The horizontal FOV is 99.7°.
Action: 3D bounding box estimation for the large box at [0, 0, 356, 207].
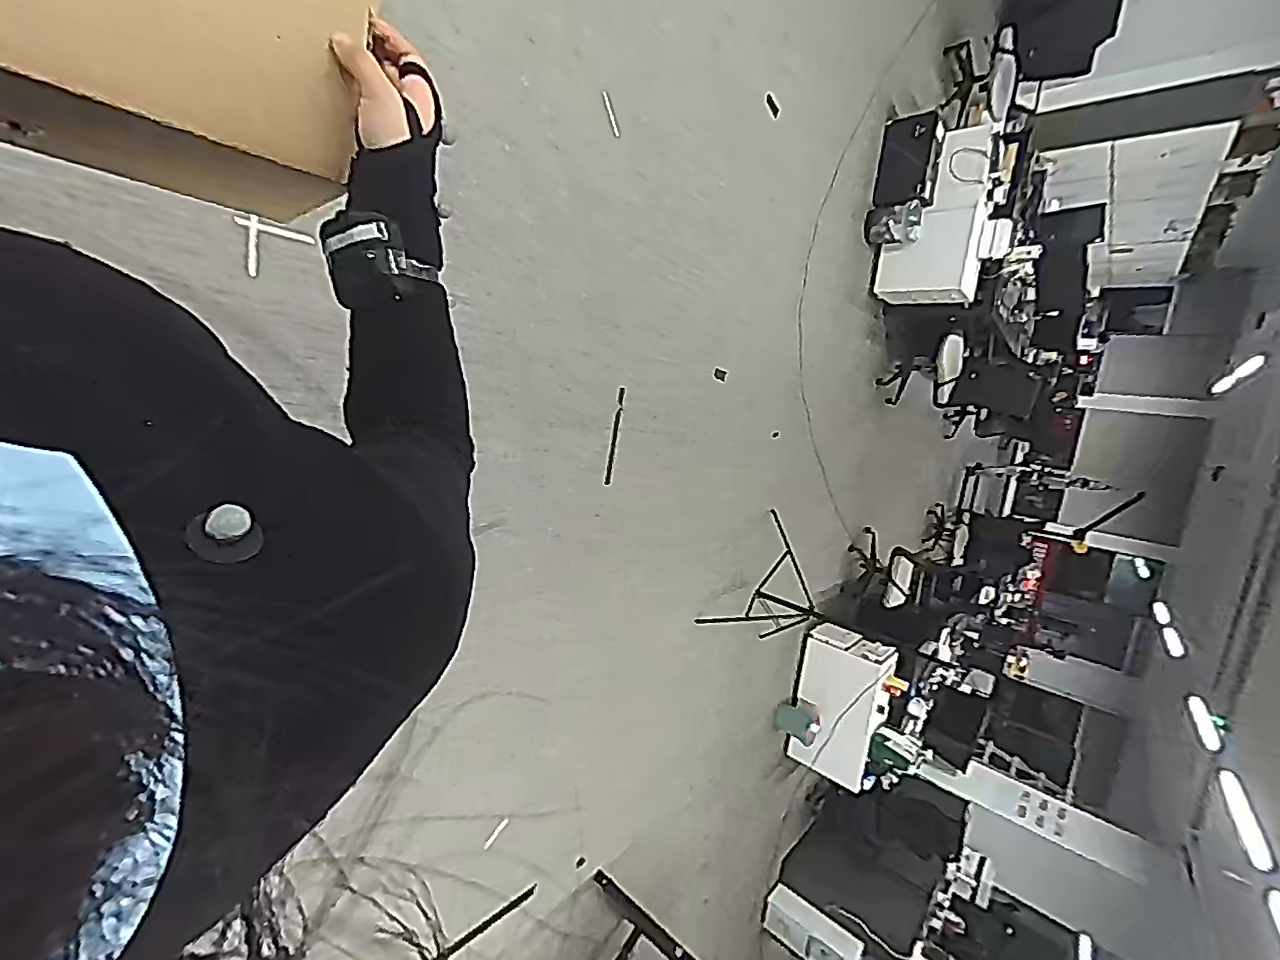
[{"bbox_3d":[-0.458,-0.435,0.391,0.408,0.320,0.320,1,103,-42],"label":"large box"}]
